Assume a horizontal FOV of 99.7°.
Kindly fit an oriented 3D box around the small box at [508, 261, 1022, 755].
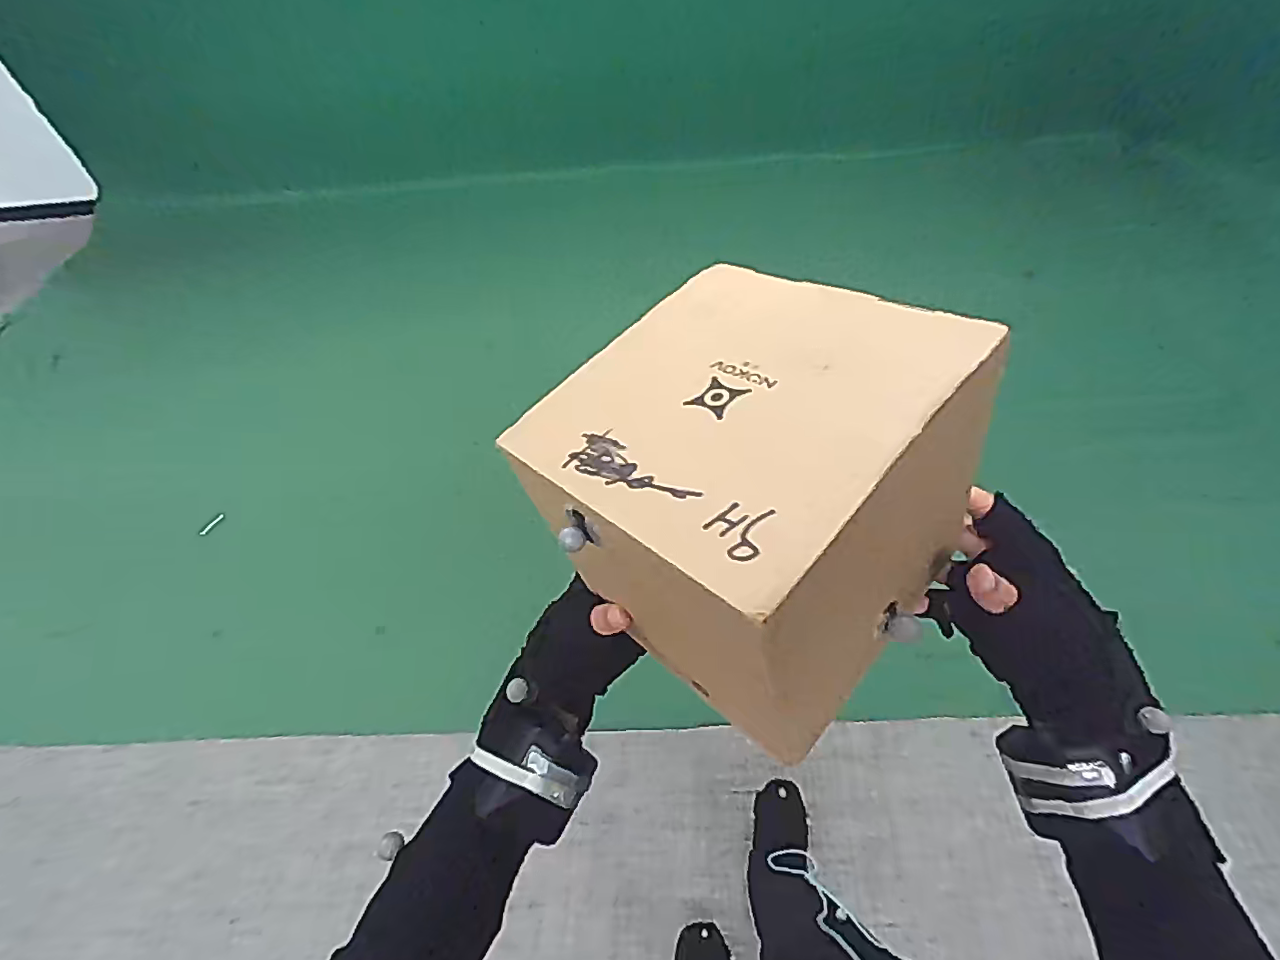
[{"bbox_3d":[0.065,0.010,0.302,0.179,0.176,0.168,-42,49,-20],"label":"small box"}]
